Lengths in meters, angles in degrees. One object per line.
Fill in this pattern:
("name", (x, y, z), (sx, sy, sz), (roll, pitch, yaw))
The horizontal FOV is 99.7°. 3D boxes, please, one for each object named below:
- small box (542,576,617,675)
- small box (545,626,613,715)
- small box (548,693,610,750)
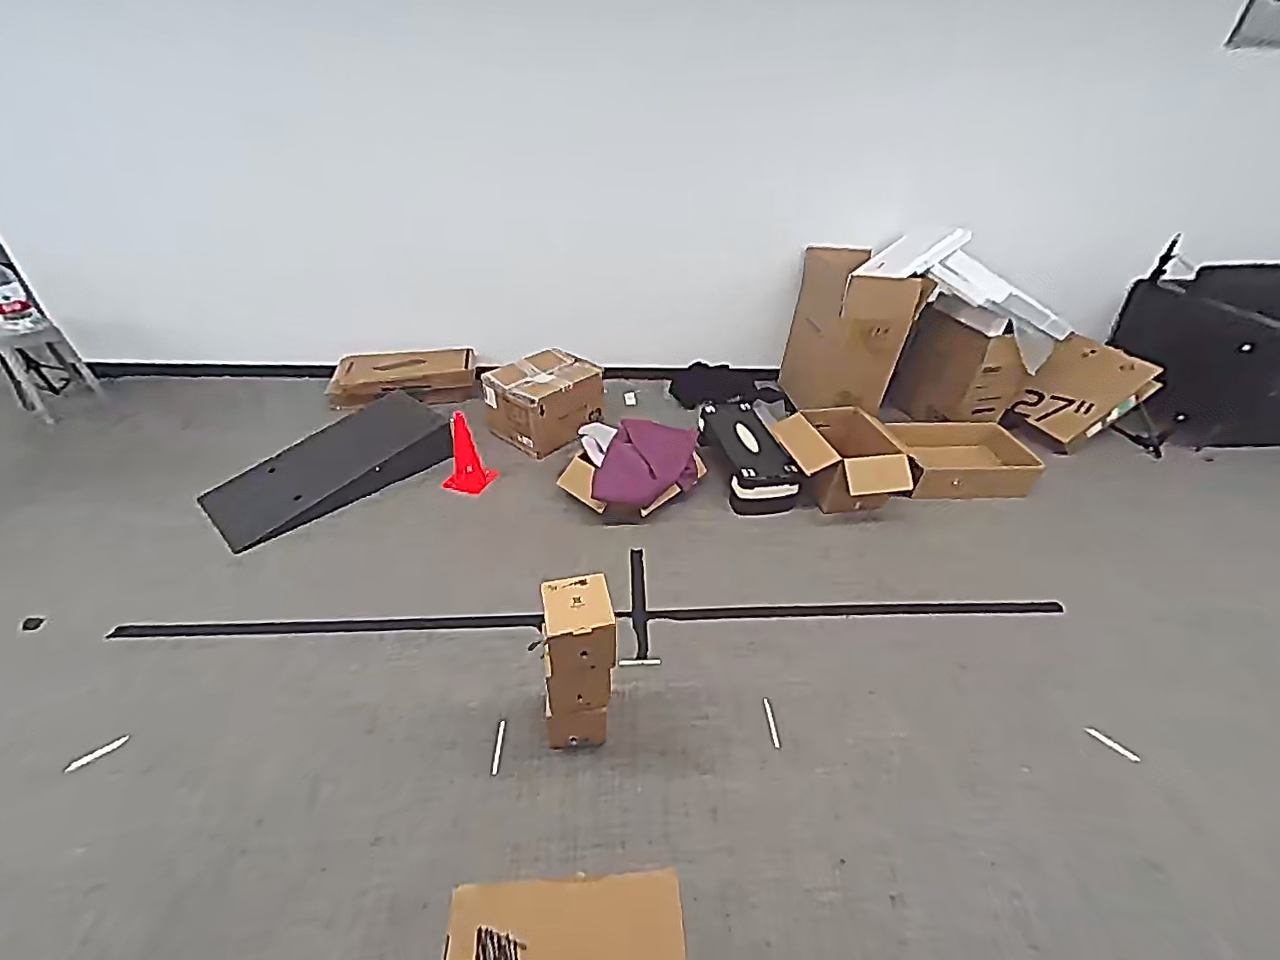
("small box", (-0.153, 0.375, 1.376), (0.168, 0.176, 0.179), (-7, 37, -11))
("small box", (-0.168, 0.506, 1.475), (0.168, 0.176, 0.179), (-7, 37, -9))
("small box", (-0.174, 0.647, 1.561), (0.168, 0.176, 0.179), (-3, 38, -6))
